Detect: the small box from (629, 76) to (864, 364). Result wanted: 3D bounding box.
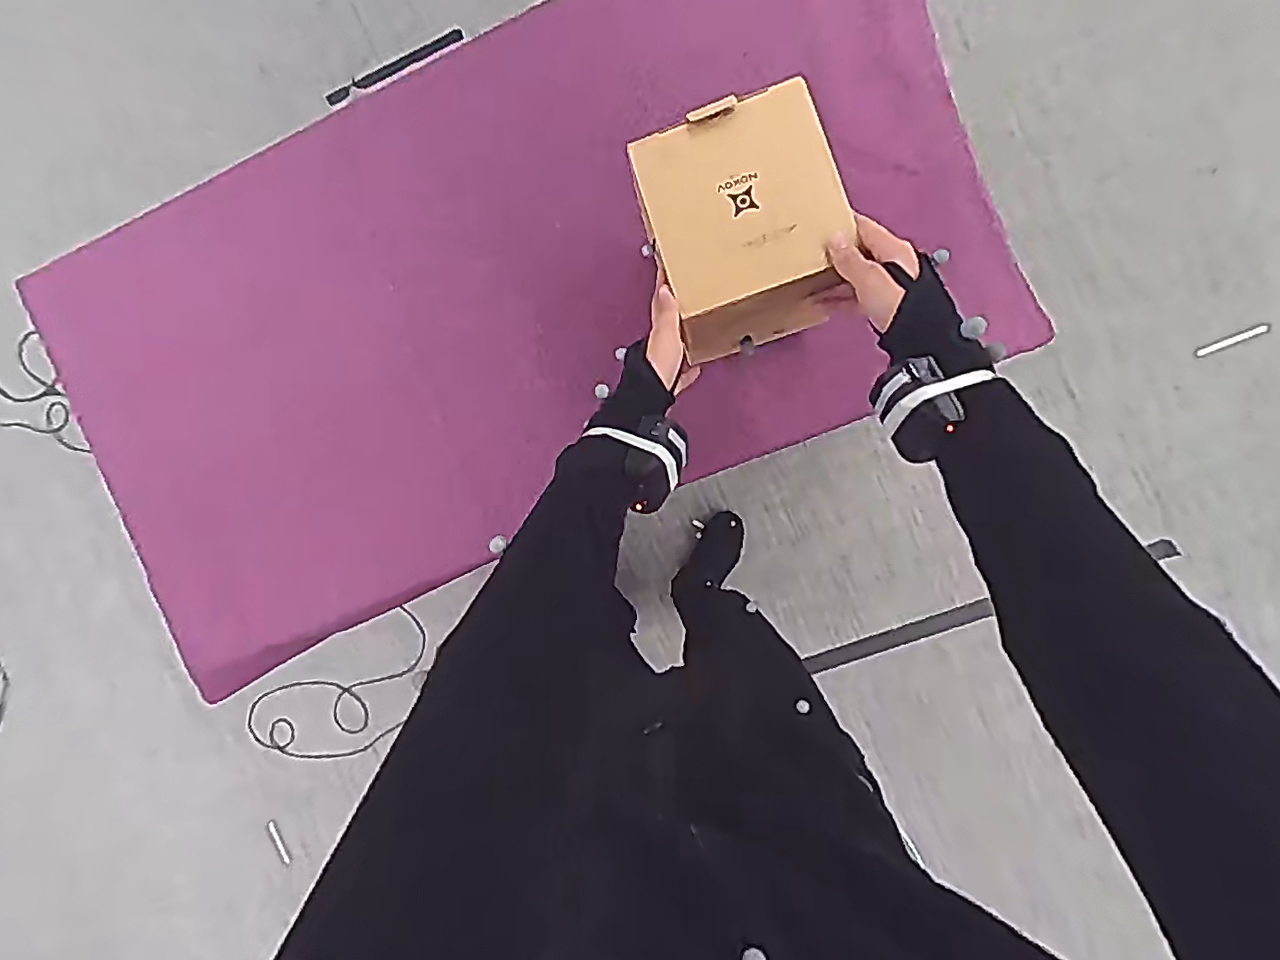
[{"bbox_3d":[0.098,-0.241,0.546,0.168,0.176,0.179,-17,84,7],"label":"small box"}]
